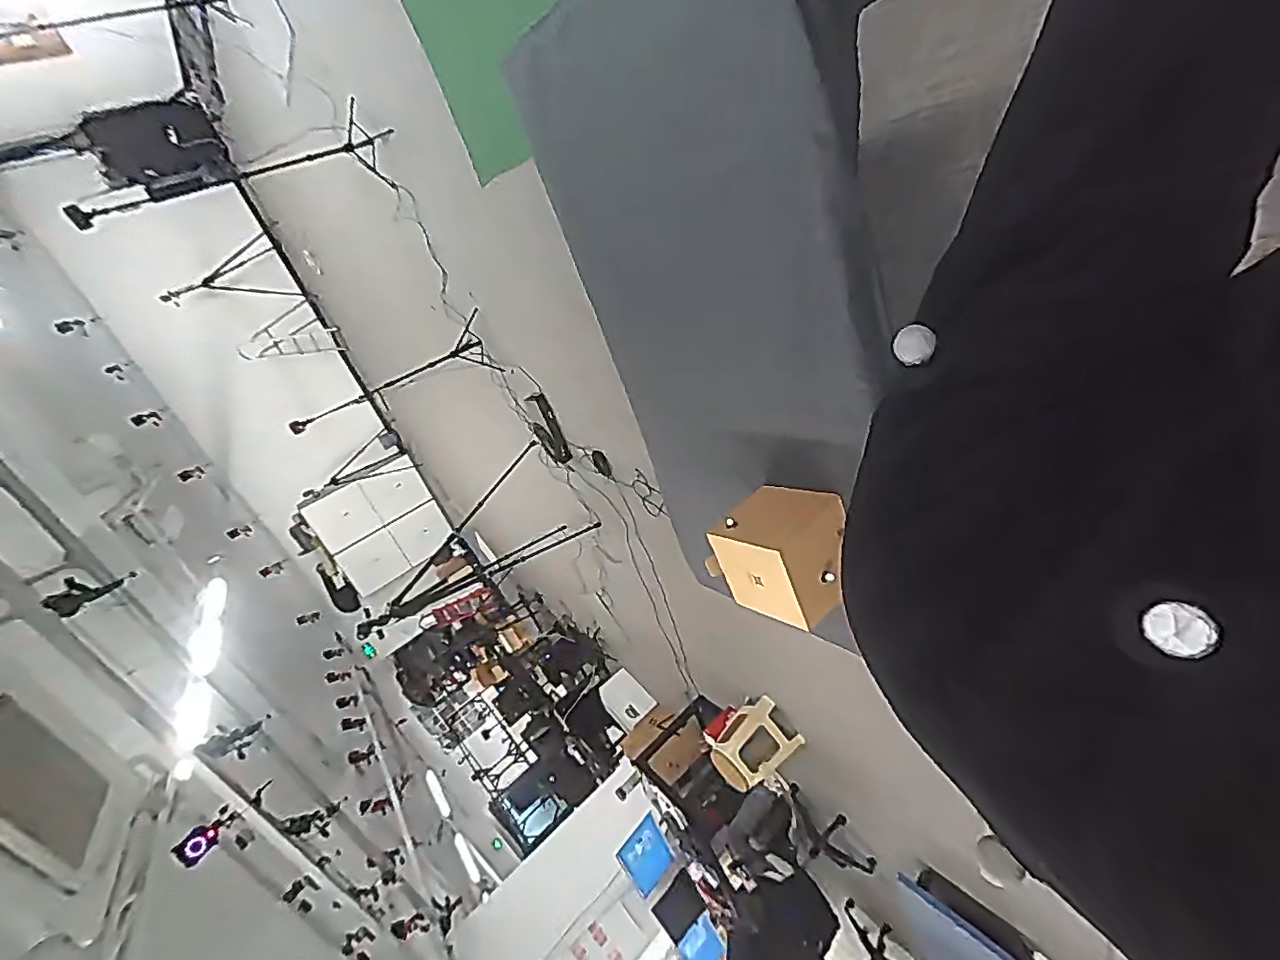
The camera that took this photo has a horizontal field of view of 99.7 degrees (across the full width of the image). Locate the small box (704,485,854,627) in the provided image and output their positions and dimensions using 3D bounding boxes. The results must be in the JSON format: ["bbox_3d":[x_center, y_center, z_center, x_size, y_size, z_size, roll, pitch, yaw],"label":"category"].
[{"bbox_3d":[0.252,0.122,0.952,0.179,0.176,0.168,8,128,57],"label":"small box"}]
